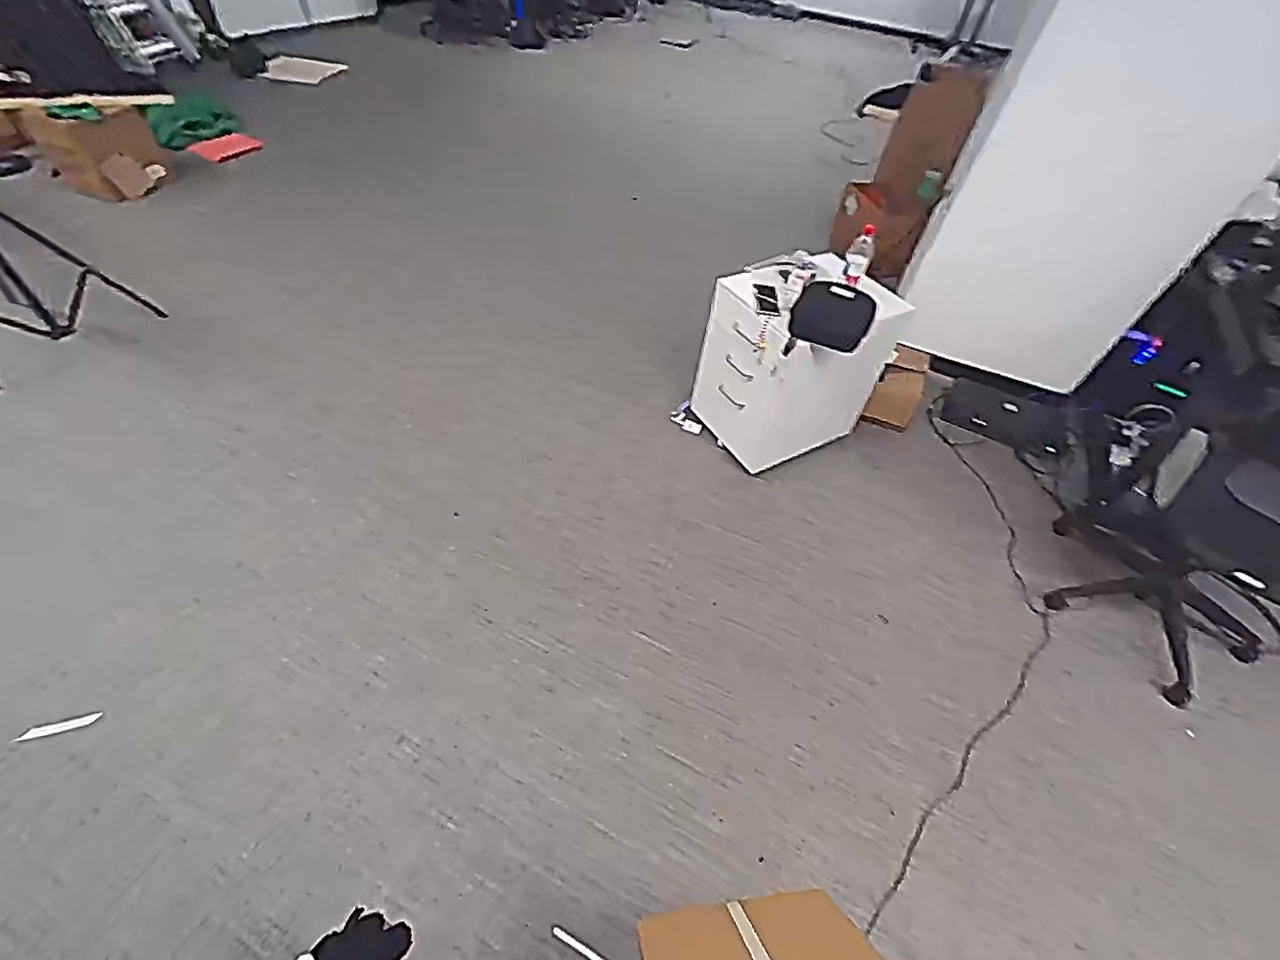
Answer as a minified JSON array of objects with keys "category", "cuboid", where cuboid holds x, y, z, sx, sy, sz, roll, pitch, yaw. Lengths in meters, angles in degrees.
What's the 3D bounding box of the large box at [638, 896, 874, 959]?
[{"category":"large box","cuboid":[0.185,0.797,0.647,0.320,0.408,0.320,-4,79,-8]}]
